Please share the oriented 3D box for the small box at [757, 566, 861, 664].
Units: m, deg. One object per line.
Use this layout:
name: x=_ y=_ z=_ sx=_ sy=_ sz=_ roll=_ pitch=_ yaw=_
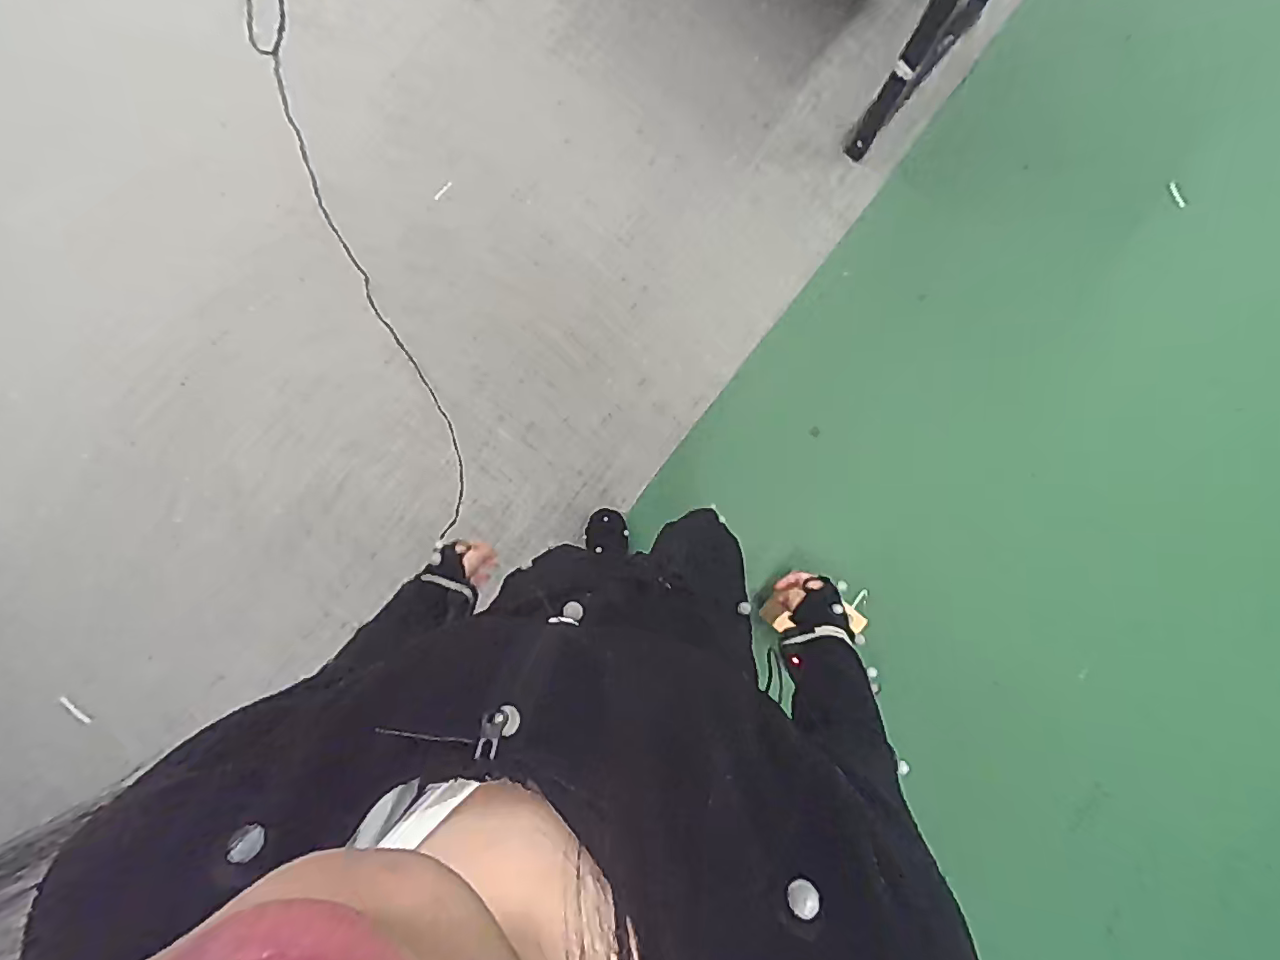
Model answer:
small box: x=0.437 y=0.344 z=1.425 sx=0.179 sy=0.176 sz=0.168 roll=40 pitch=88 yaw=2
